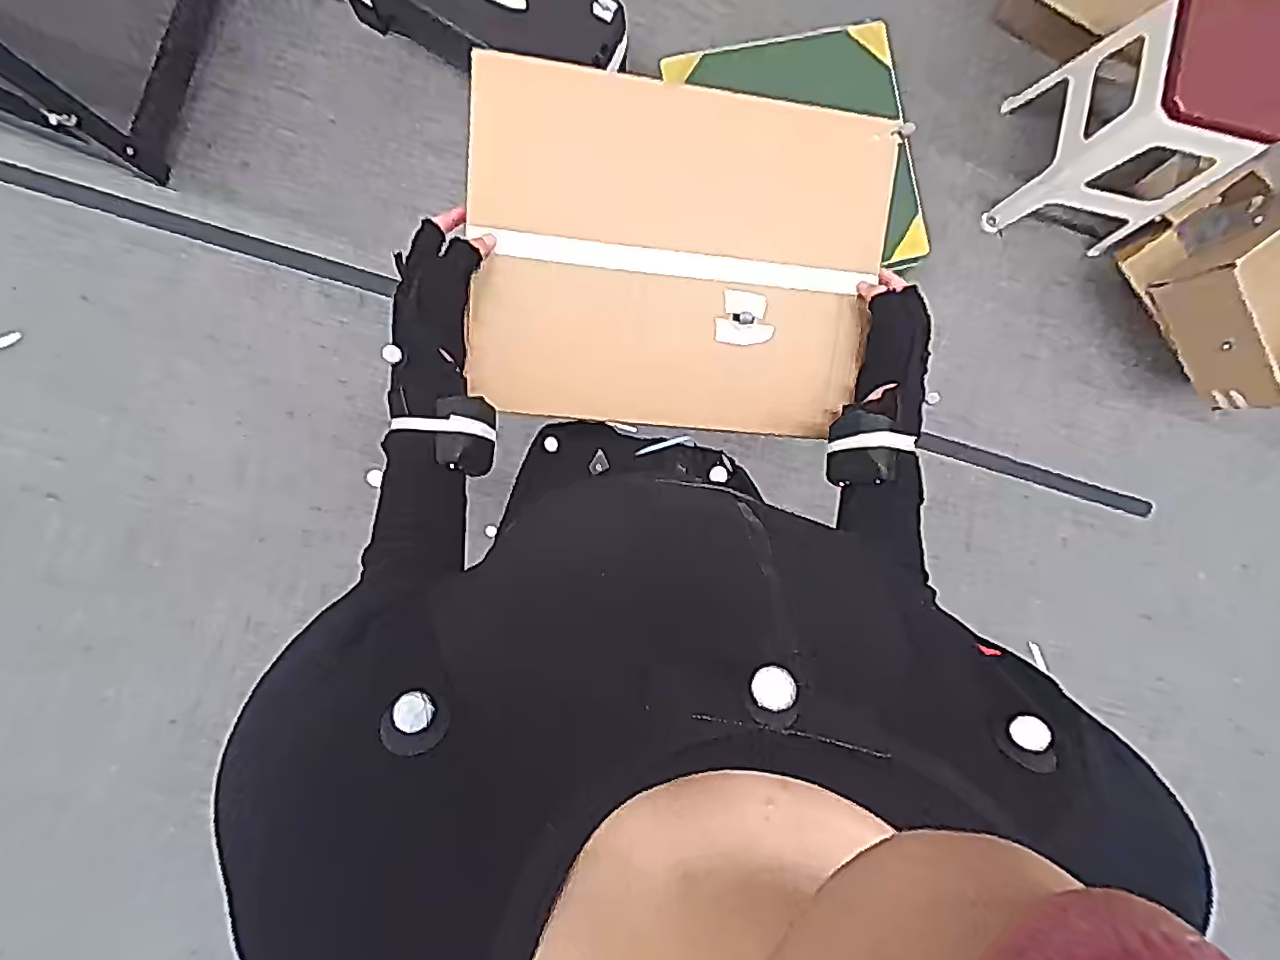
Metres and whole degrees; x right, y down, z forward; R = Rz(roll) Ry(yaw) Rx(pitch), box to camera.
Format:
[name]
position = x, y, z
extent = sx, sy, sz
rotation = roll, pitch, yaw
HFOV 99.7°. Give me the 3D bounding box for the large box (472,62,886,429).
[large box]
position = 0.019, -0.243, 0.685
extent = 0.408, 0.320, 0.320
rotation = 4, 100, -9
